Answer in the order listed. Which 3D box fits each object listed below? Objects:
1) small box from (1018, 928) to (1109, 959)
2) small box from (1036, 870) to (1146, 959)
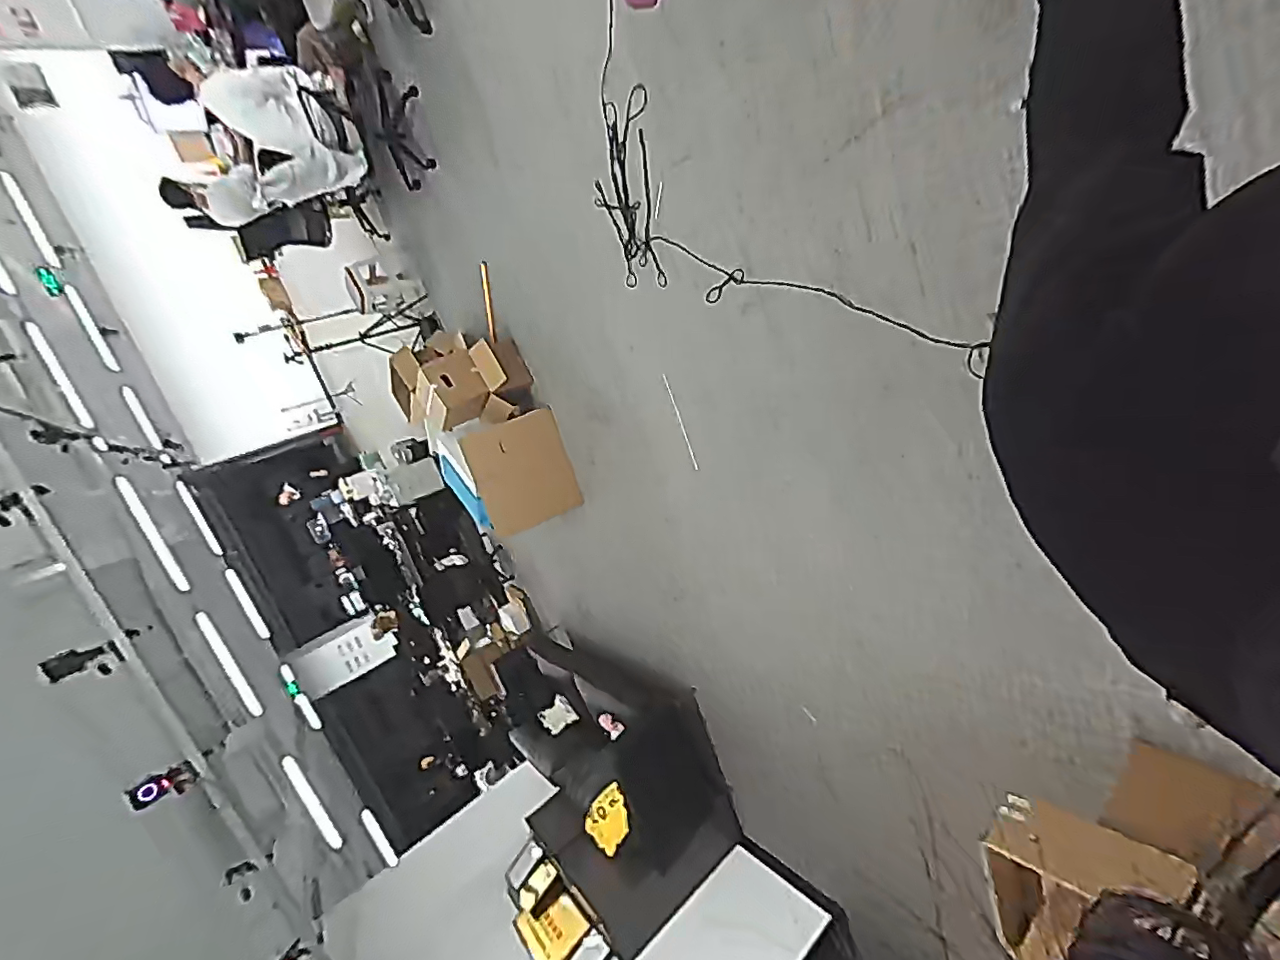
[{"bbox_3d":[0.918,1.107,1.136,0.179,0.176,0.168,-14,103,56],"label":"small box"},{"bbox_3d":[1.035,1.064,1.248,0.168,0.176,0.179,15,124,50],"label":"small box"}]
